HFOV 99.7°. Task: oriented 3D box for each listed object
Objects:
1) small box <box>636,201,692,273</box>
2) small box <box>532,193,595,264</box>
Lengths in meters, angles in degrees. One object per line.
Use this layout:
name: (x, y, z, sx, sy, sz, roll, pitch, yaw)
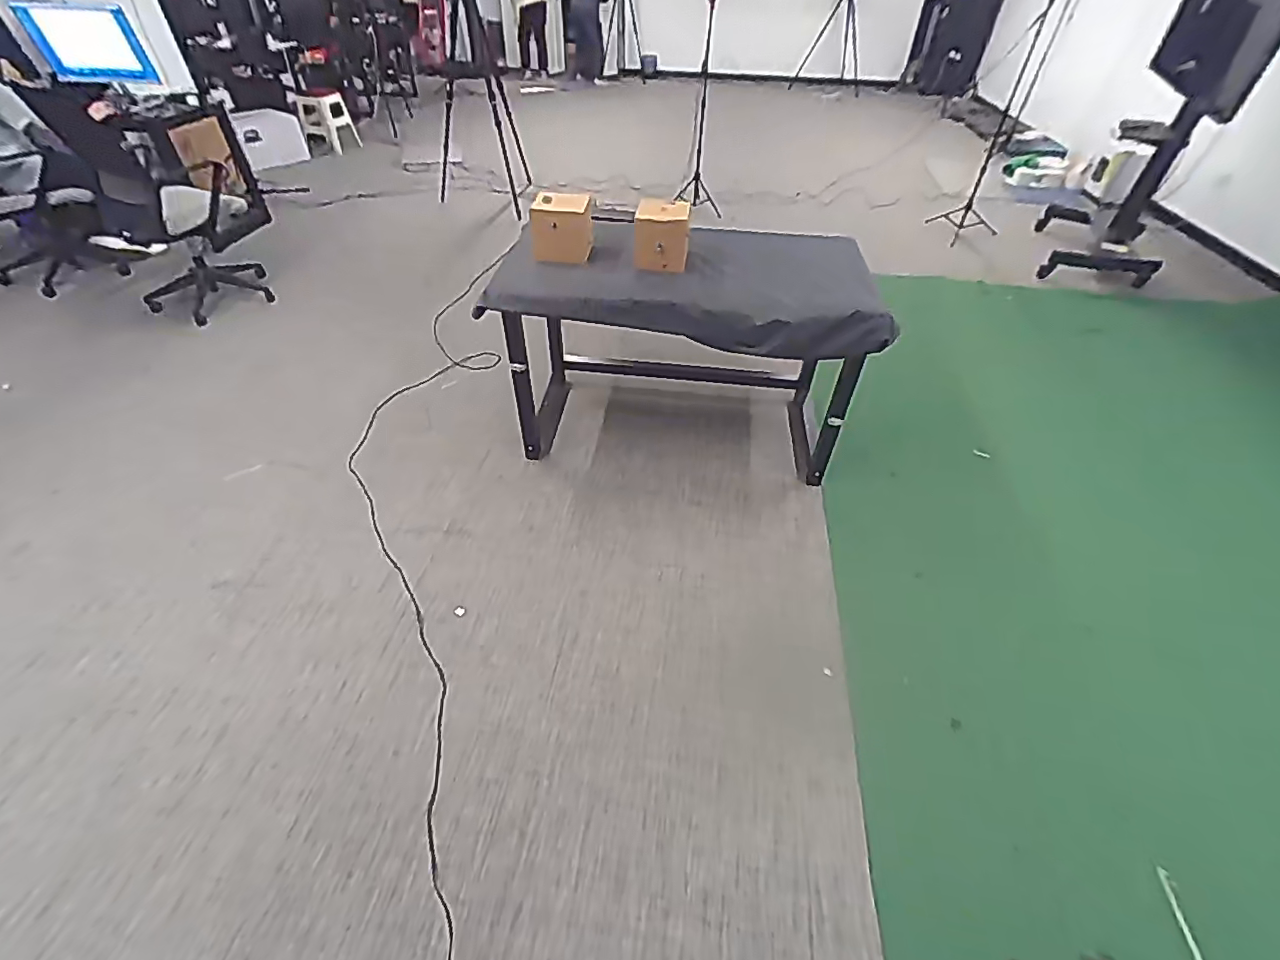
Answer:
small box: (0.079, -0.794, 1.769, 0.168, 0.176, 0.179, 6, 45, 4)
small box: (-0.249, -0.834, 1.795, 0.179, 0.176, 0.168, 5, 45, 1)
